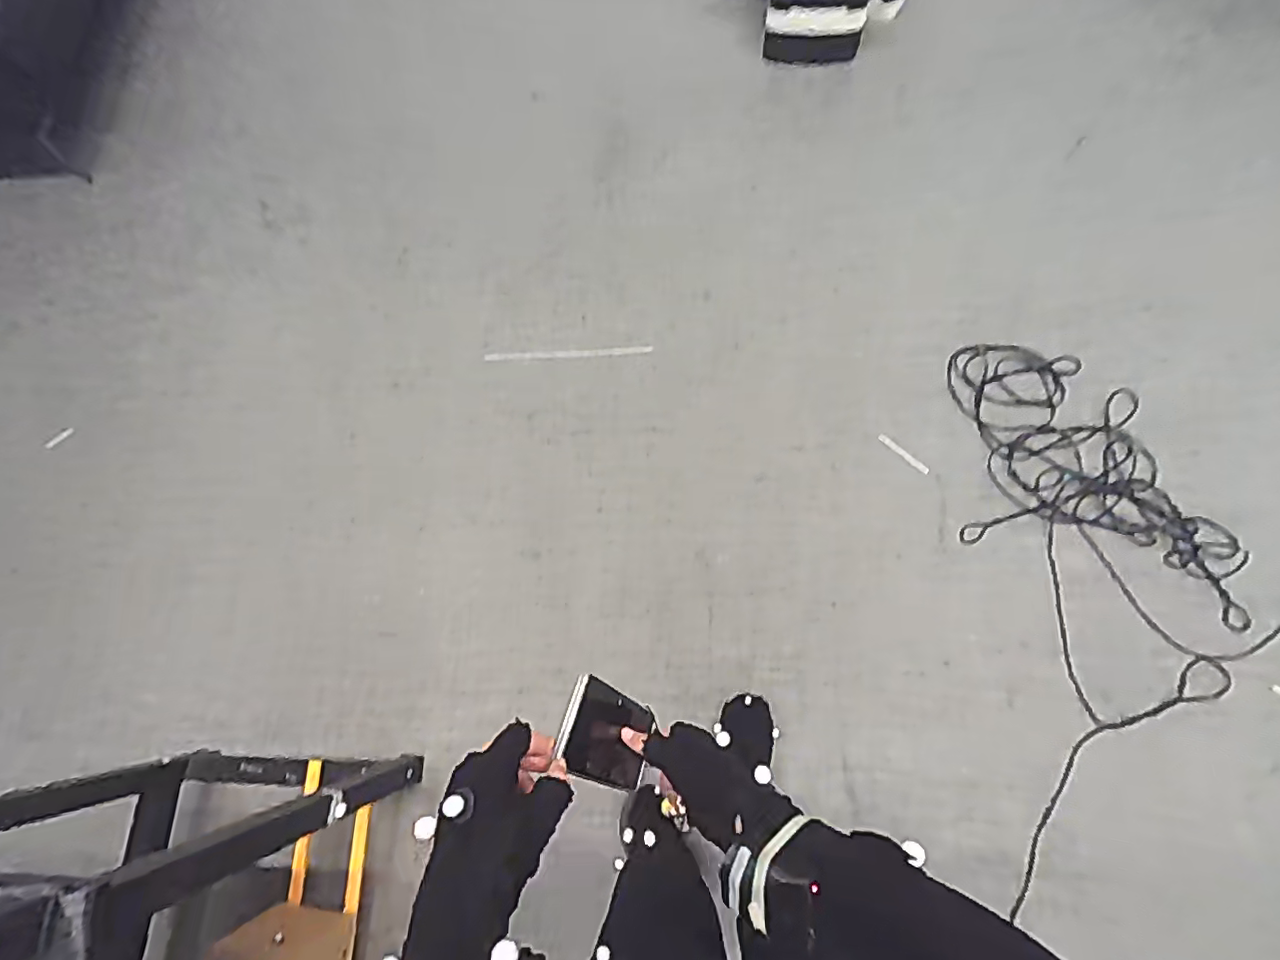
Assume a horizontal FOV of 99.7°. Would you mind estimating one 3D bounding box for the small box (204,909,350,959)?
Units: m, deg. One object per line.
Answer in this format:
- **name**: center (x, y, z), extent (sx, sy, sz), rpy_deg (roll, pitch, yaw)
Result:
- **small box**: center (-0.666, 0.921, 0.984), extent (0.179, 0.176, 0.168), rpy_deg (2, 73, 7)
